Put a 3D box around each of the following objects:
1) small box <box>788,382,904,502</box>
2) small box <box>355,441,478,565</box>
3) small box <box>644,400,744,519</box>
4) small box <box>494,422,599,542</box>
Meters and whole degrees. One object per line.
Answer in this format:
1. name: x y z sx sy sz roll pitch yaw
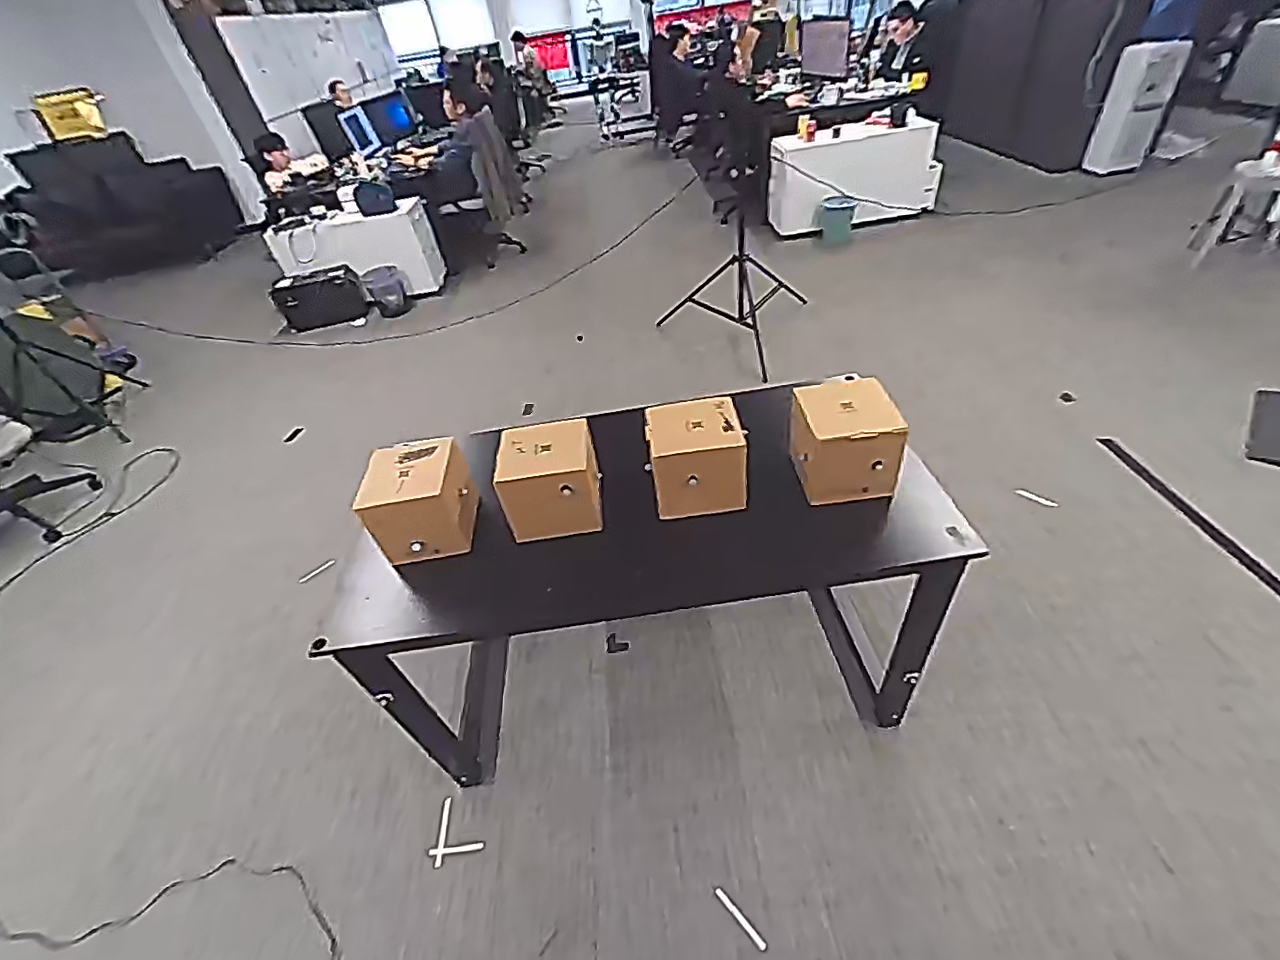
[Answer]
1. small box: 0.398 -0.069 1.074 0.168 0.176 0.179 -7 40 3
2. small box: -0.443 0.048 1.107 0.168 0.176 0.179 -10 43 0
3. small box: 0.110 -0.038 1.096 0.179 0.176 0.168 -8 42 3
4. small box: -0.180 0.006 1.101 0.179 0.176 0.168 -9 41 1
